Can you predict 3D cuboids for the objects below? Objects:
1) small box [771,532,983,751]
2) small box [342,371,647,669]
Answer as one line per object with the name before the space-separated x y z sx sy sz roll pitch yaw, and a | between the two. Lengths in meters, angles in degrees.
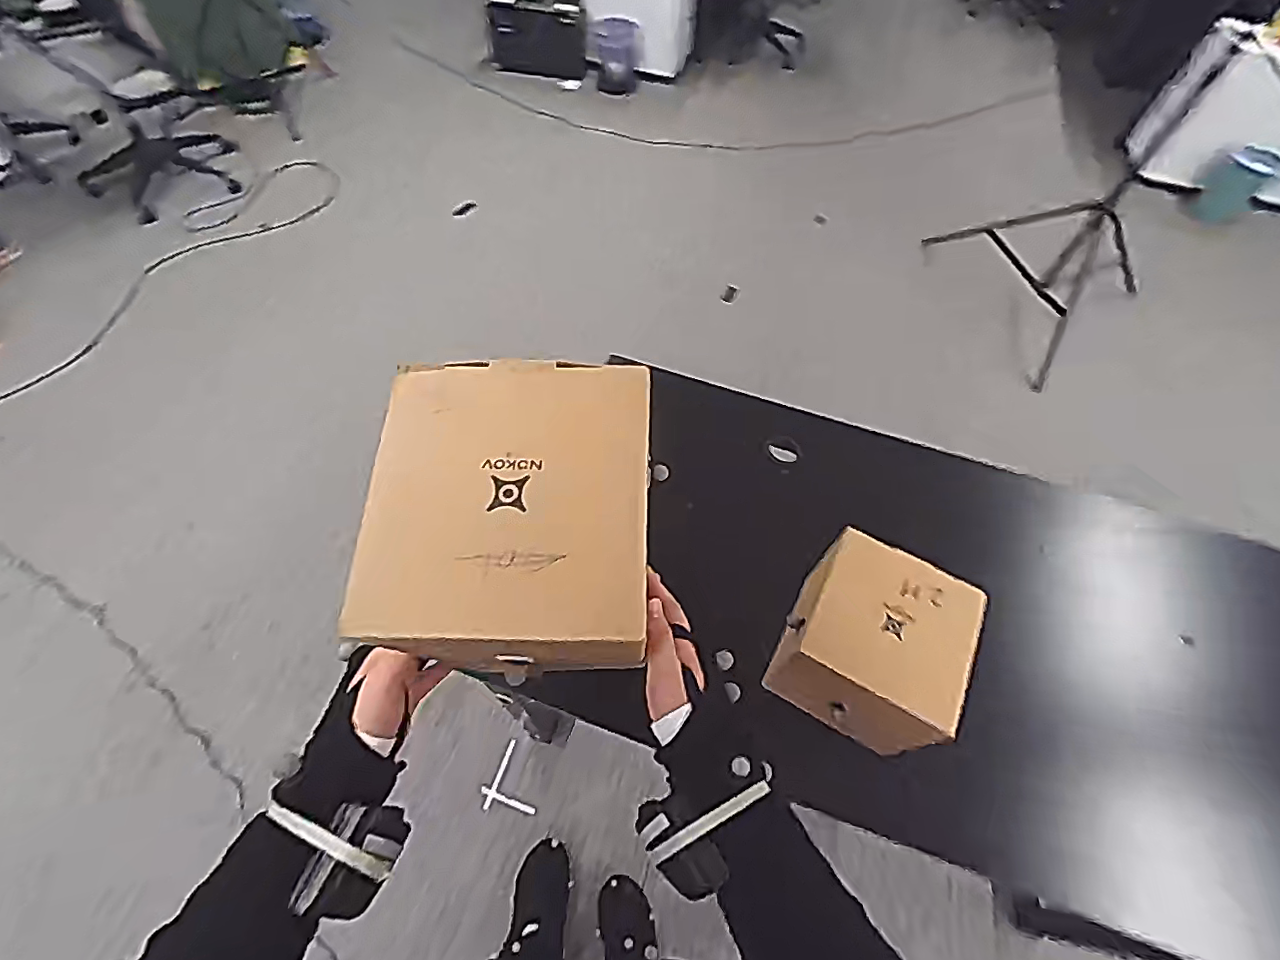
small box | 0.276 0.202 0.661 0.168 0.176 0.179 27 59 14
small box | -0.079 0.040 0.394 0.168 0.176 0.179 -1 68 0
